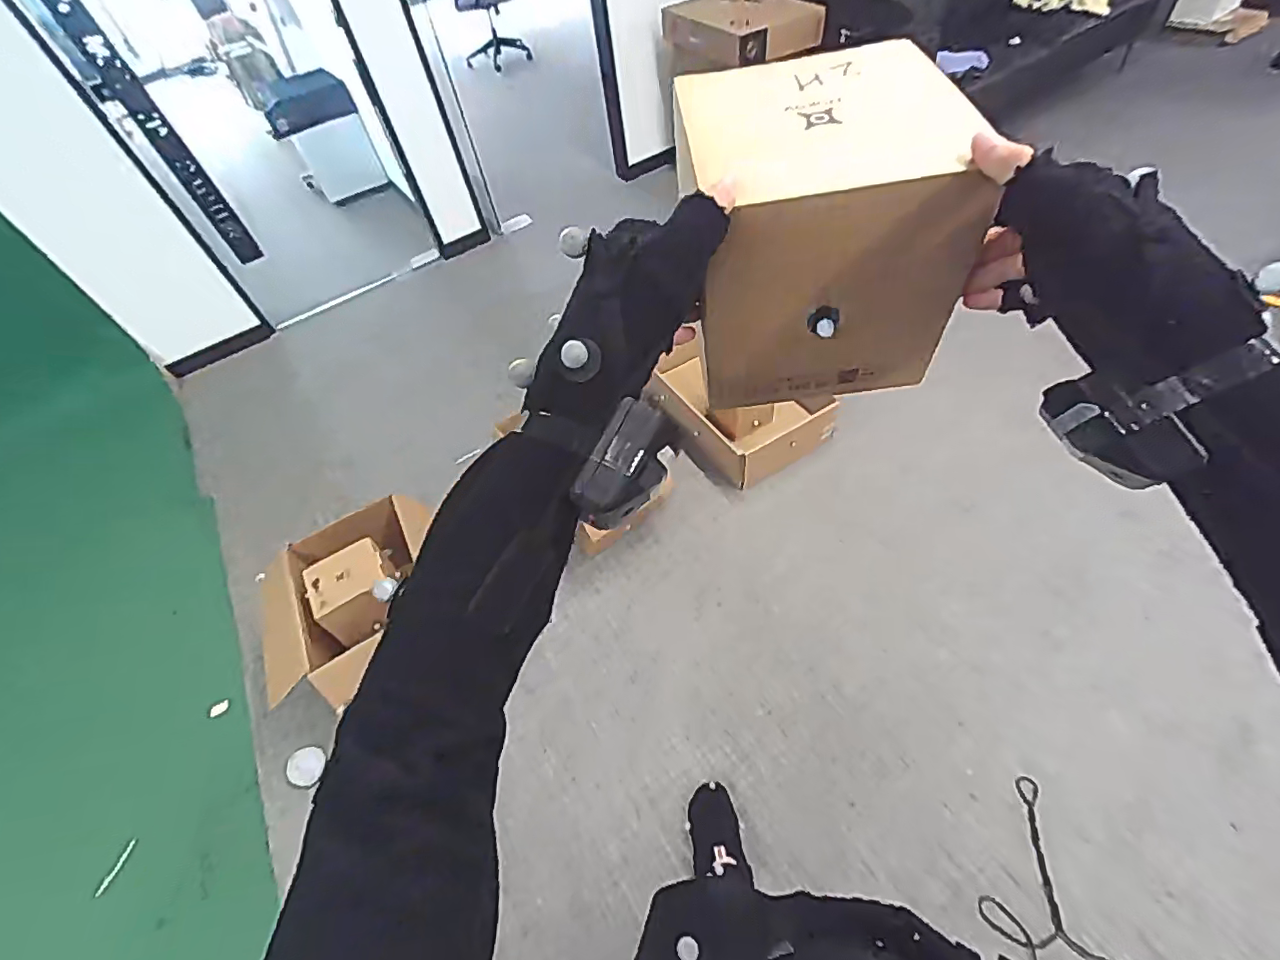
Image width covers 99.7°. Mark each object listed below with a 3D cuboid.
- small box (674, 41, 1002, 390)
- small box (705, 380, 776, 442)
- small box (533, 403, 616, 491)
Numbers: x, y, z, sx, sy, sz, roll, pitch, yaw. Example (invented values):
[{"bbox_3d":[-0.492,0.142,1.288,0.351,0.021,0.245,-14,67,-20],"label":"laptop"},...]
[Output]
[{"bbox_3d":[0.120,-0.182,0.404,0.168,0.176,0.179,-7,55,4],"label":"small box"},{"bbox_3d":[0.338,-0.262,1.840,0.168,0.176,0.179,-29,53,-15],"label":"small box"},{"bbox_3d":[-0.189,-0.092,1.615,0.168,0.176,0.179,-36,57,-19],"label":"small box"}]
